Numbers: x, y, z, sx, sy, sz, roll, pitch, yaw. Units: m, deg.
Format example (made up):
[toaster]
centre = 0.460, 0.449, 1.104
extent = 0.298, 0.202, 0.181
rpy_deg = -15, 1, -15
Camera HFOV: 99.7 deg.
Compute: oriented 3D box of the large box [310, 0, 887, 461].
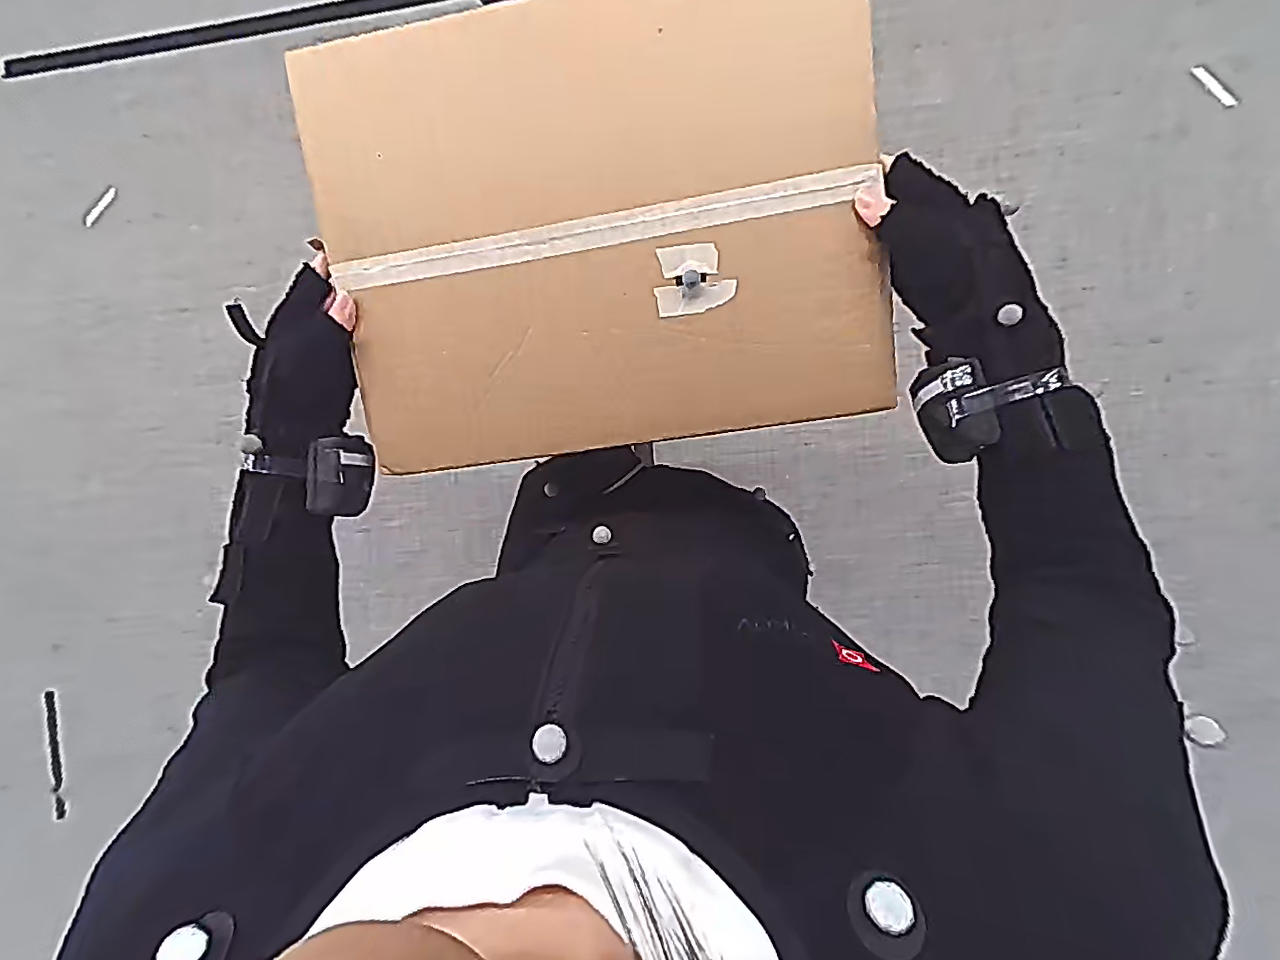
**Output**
[large box]
centre = -0.021, -0.216, 0.552
extent = 0.408, 0.320, 0.320
rpy_deg = -8, 100, 5
